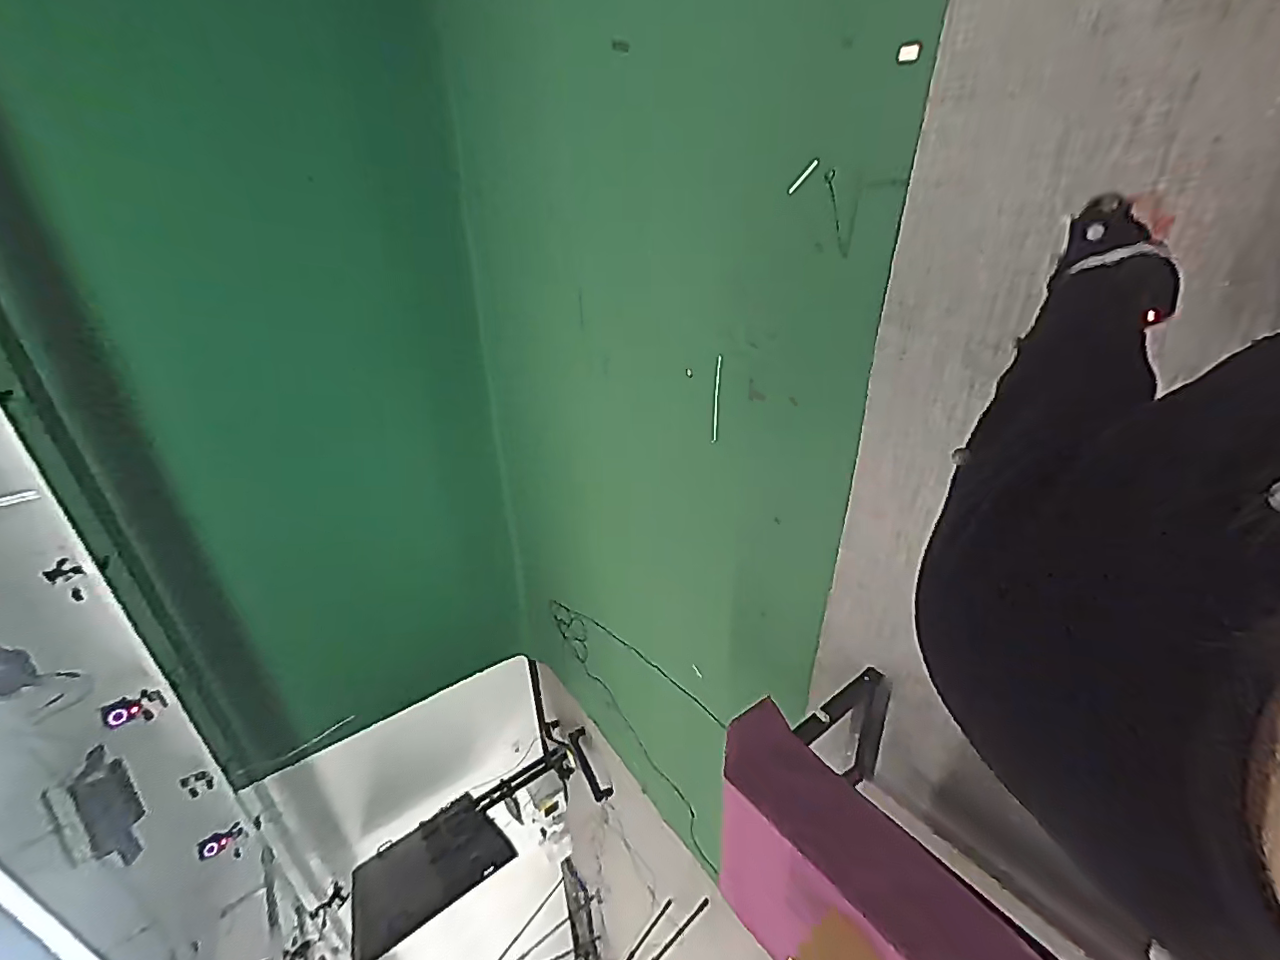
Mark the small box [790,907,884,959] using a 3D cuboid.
[{"bbox_3d":[0.471,1.178,1.279,0.179,0.176,0.168,33,133,45],"label":"small box"}]
